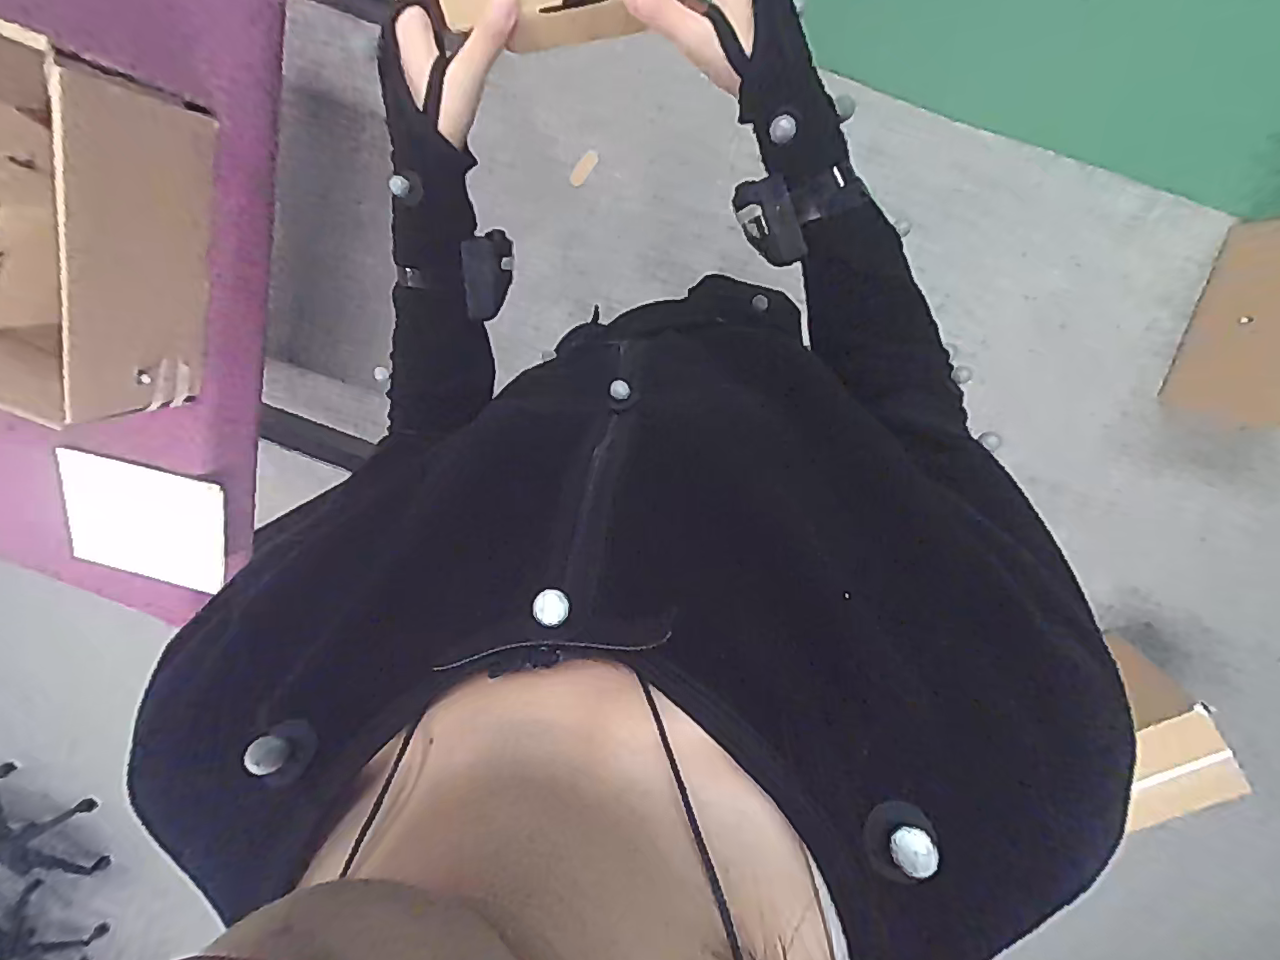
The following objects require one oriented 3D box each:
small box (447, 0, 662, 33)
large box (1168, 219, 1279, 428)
[{"bbox_3d":[-0.047,-0.408,0.339,0.168,0.176,0.179,-6,129,6],"label":"small box"},{"bbox_3d":[1.428,-0.314,1.108,0.320,0.320,0.408,6,109,4],"label":"large box"}]
